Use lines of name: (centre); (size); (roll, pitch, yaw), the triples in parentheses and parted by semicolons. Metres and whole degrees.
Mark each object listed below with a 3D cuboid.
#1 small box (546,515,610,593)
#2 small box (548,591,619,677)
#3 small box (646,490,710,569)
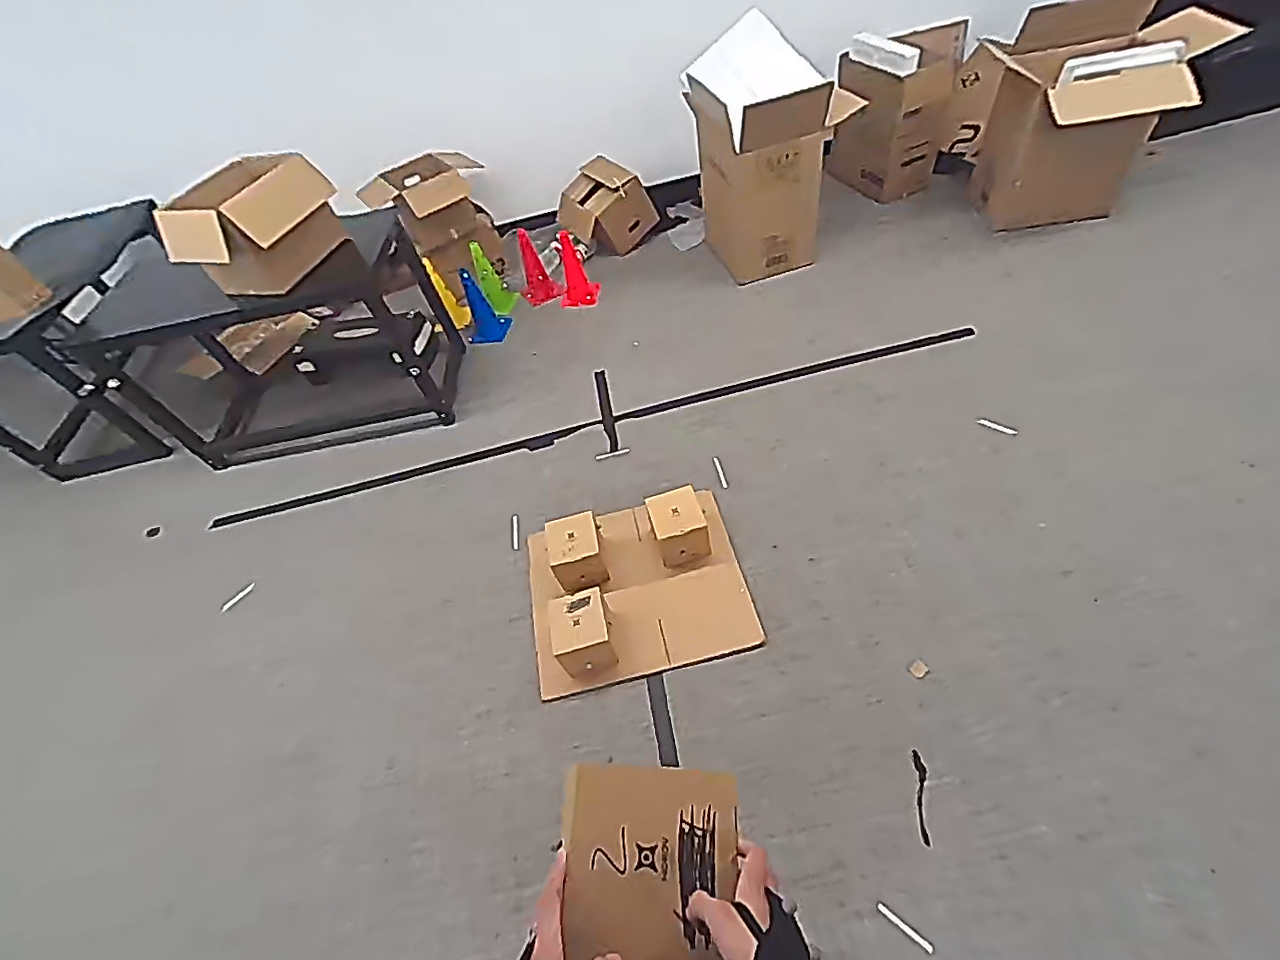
small box: (-0.206, 0.250, 1.811); (0.168, 0.176, 0.179); (-16, 50, 0)
small box: (-0.169, 0.466, 1.629); (0.168, 0.176, 0.179); (-16, 51, 0)
small box: (0.128, 0.168, 1.813); (0.168, 0.176, 0.179); (-18, 50, -2)
